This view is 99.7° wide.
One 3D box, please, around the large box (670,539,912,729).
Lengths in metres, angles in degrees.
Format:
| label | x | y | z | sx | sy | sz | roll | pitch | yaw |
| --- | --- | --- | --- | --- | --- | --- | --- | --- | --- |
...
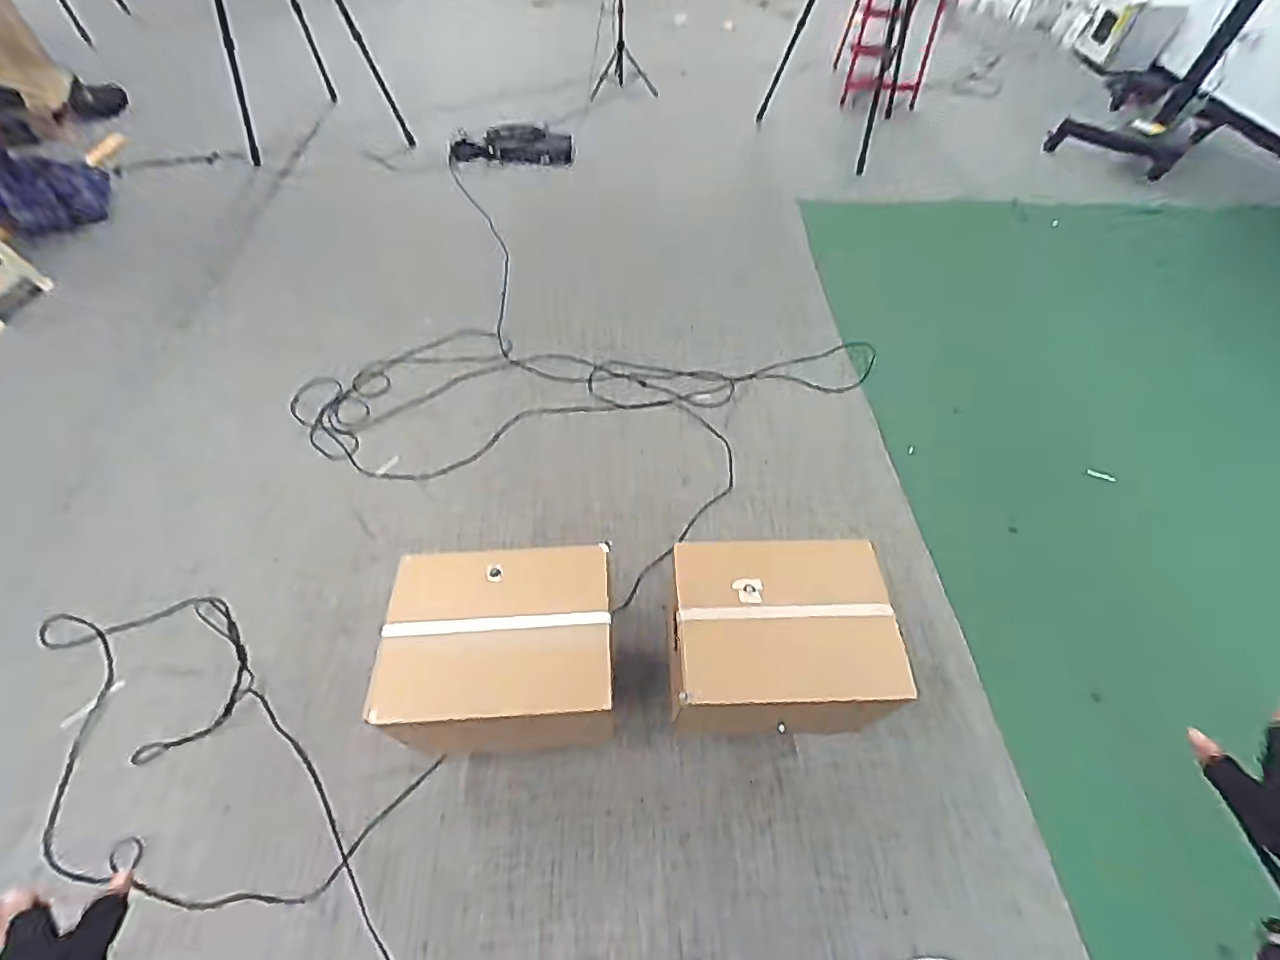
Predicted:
| label | x | y | z | sx | sy | sz | roll | pitch | yaw |
| --- | --- | --- | --- | --- | --- | --- | --- | --- | --- |
| large box | 0.278 | 0.336 | 1.149 | 0.408 | 0.320 | 0.320 | -1 | 55 | -1 |
